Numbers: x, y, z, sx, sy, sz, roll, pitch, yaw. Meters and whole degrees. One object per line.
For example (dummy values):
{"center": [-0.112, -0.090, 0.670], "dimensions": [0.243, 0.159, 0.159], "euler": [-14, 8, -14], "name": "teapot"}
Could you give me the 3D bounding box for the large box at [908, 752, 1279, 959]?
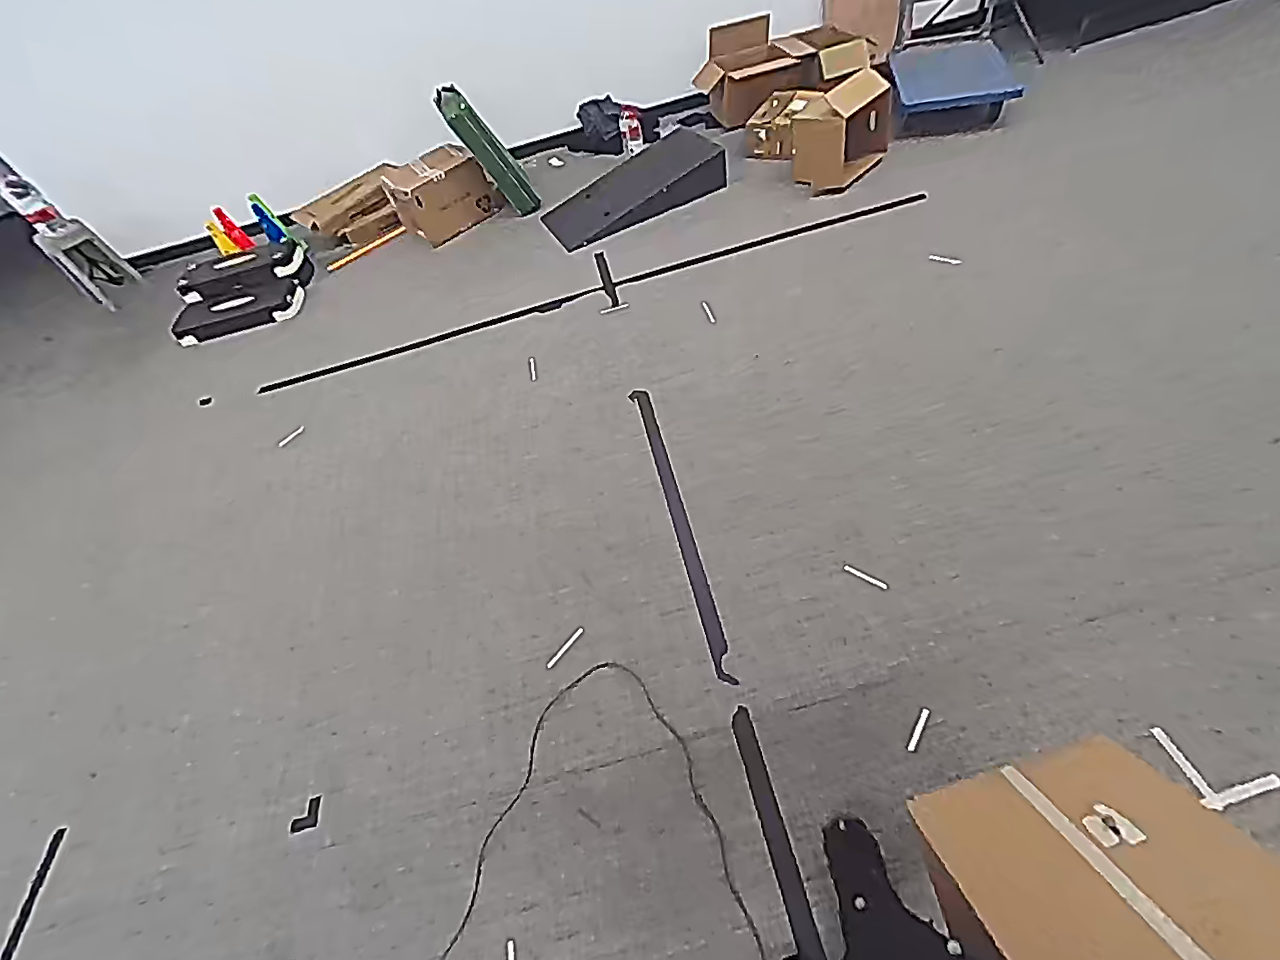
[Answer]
{"center": [0.601, 0.618, 0.634], "dimensions": [0.320, 0.408, 0.320], "euler": [-19, 96, 2], "name": "large box"}
